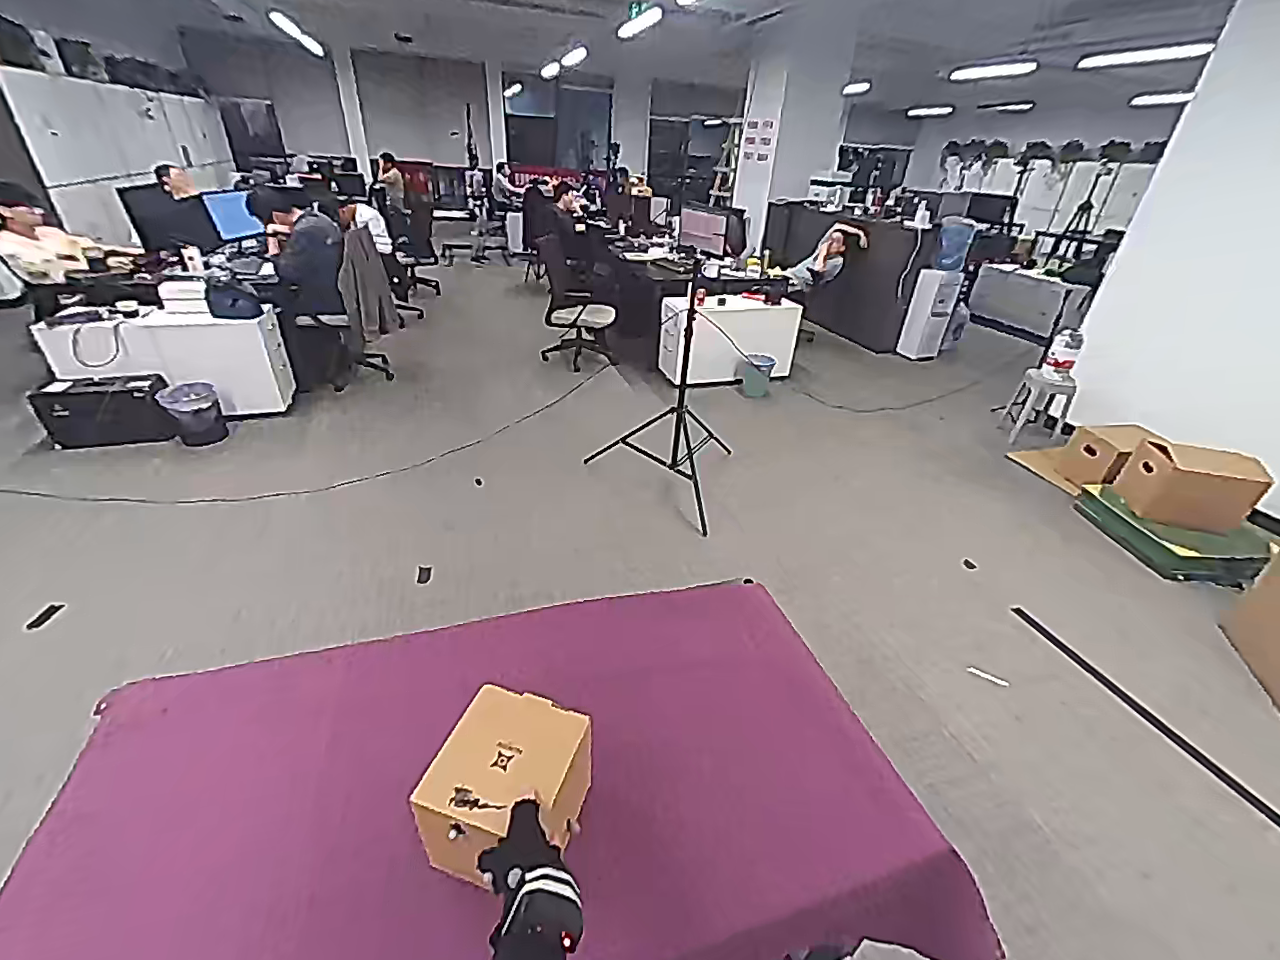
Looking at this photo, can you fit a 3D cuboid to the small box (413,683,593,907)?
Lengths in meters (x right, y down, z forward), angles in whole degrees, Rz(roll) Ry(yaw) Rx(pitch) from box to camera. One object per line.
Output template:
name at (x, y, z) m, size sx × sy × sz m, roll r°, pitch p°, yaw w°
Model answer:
small box at (-0.173, 0.416, 0.727) m, size 0.168 × 0.176 × 0.179 m, roll 12°, pitch 32°, yaw 13°
